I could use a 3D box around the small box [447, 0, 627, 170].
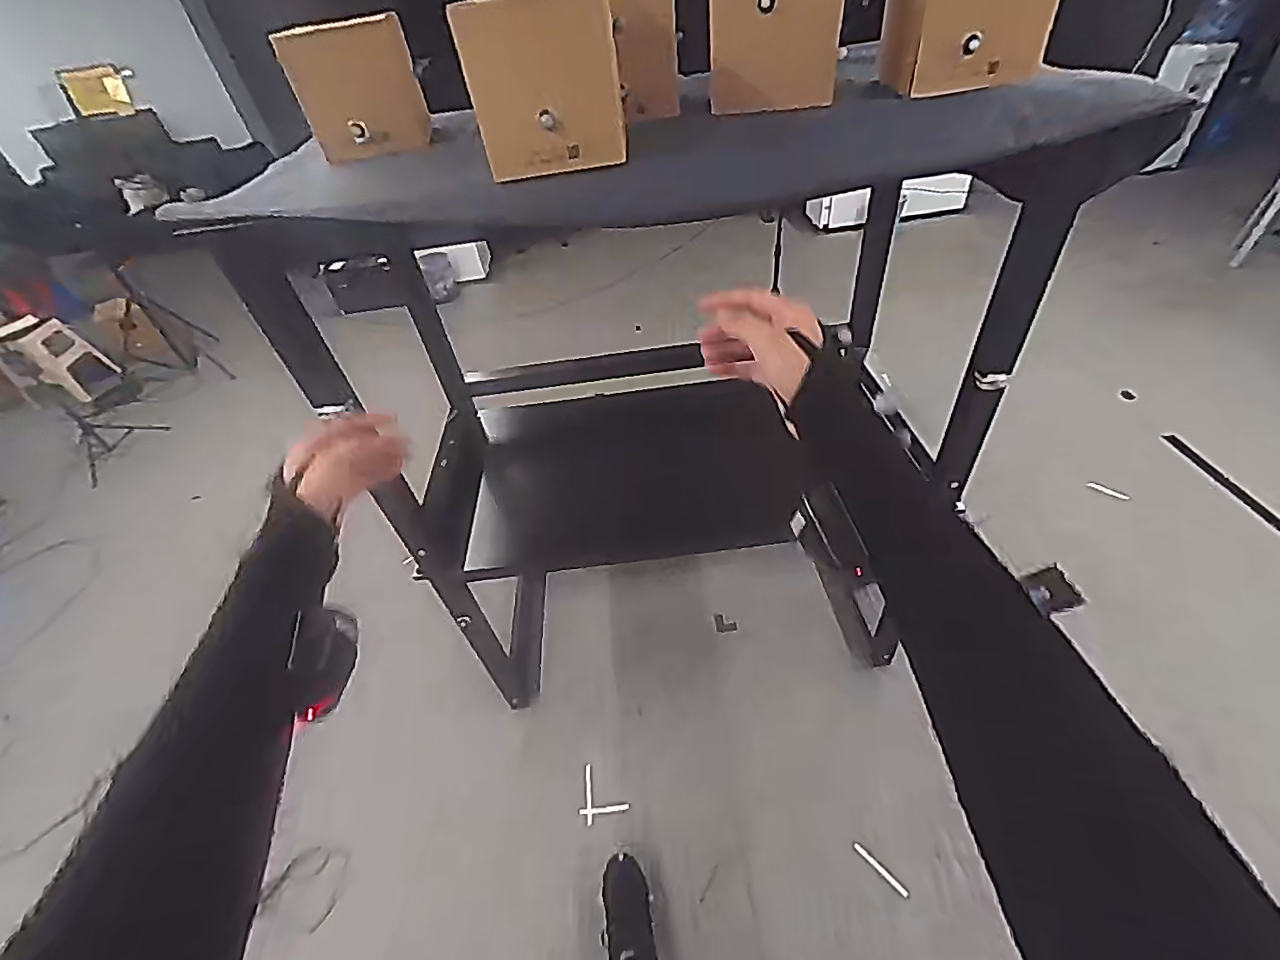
[{"bbox_3d":[-0.109,-0.496,0.659,0.168,0.176,0.179,-6,42,5],"label":"small box"}]

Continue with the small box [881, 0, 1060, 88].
[{"bbox_3d":[0.448,-0.656,0.741,0.168,0.176,0.179,-4,44,6],"label":"small box"}]

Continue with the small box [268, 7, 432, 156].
[{"bbox_3d":[-0.453,-0.646,0.879,0.168,0.176,0.179,-14,44,-5],"label":"small box"}]
